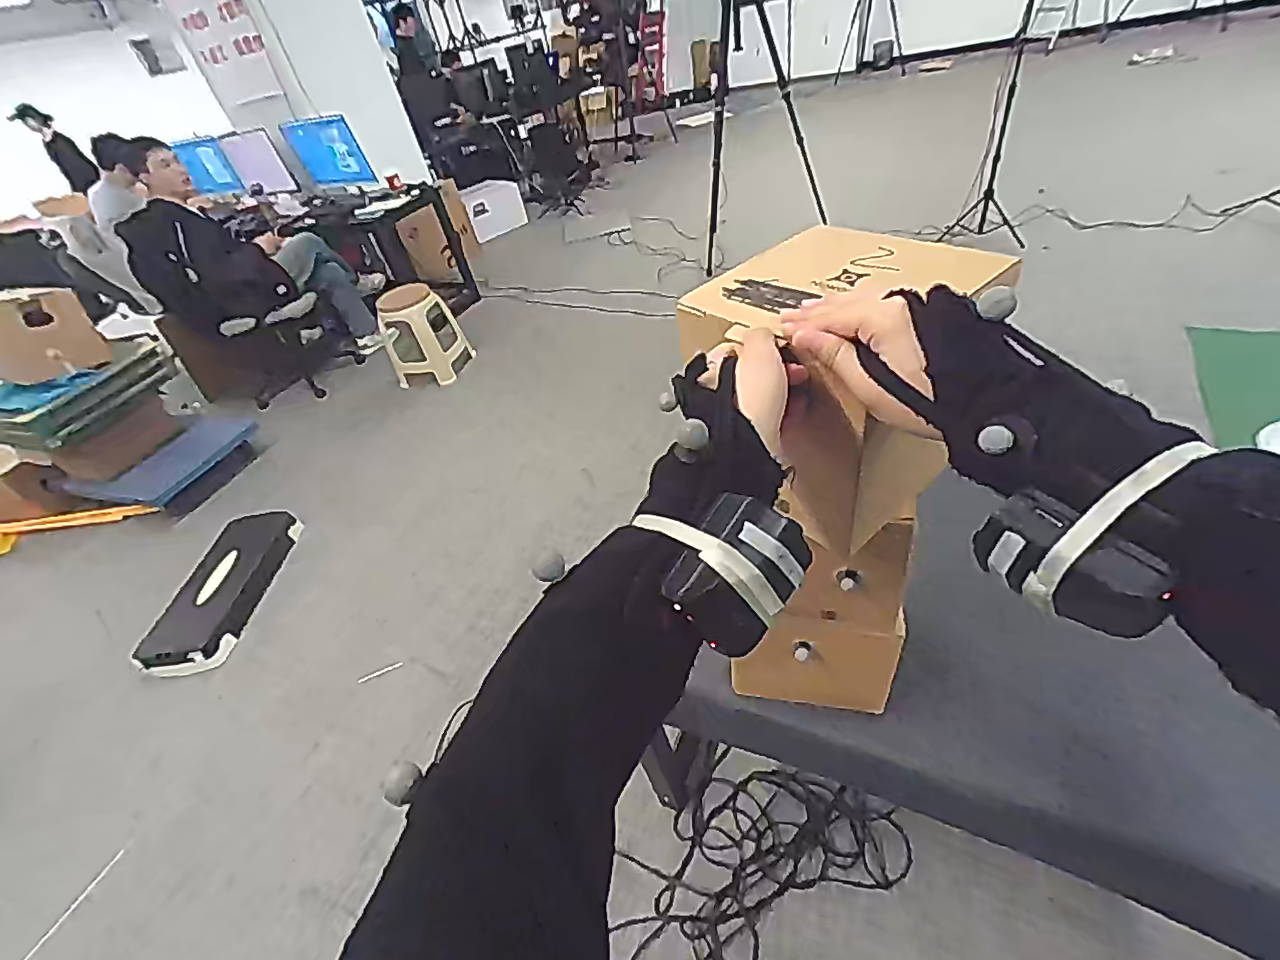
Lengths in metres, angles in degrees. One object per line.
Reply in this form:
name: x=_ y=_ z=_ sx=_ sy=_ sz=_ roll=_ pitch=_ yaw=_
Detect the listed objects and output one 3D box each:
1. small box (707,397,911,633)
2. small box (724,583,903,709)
small box: x=0.172 y=0.032 z=0.553 sx=0.168 sy=0.176 sz=0.179 roll=4 pitch=42 yaw=18
small box: x=0.204 y=0.155 z=0.654 sx=0.179 sy=0.176 sz=0.168 roll=2 pitch=43 yaw=17
